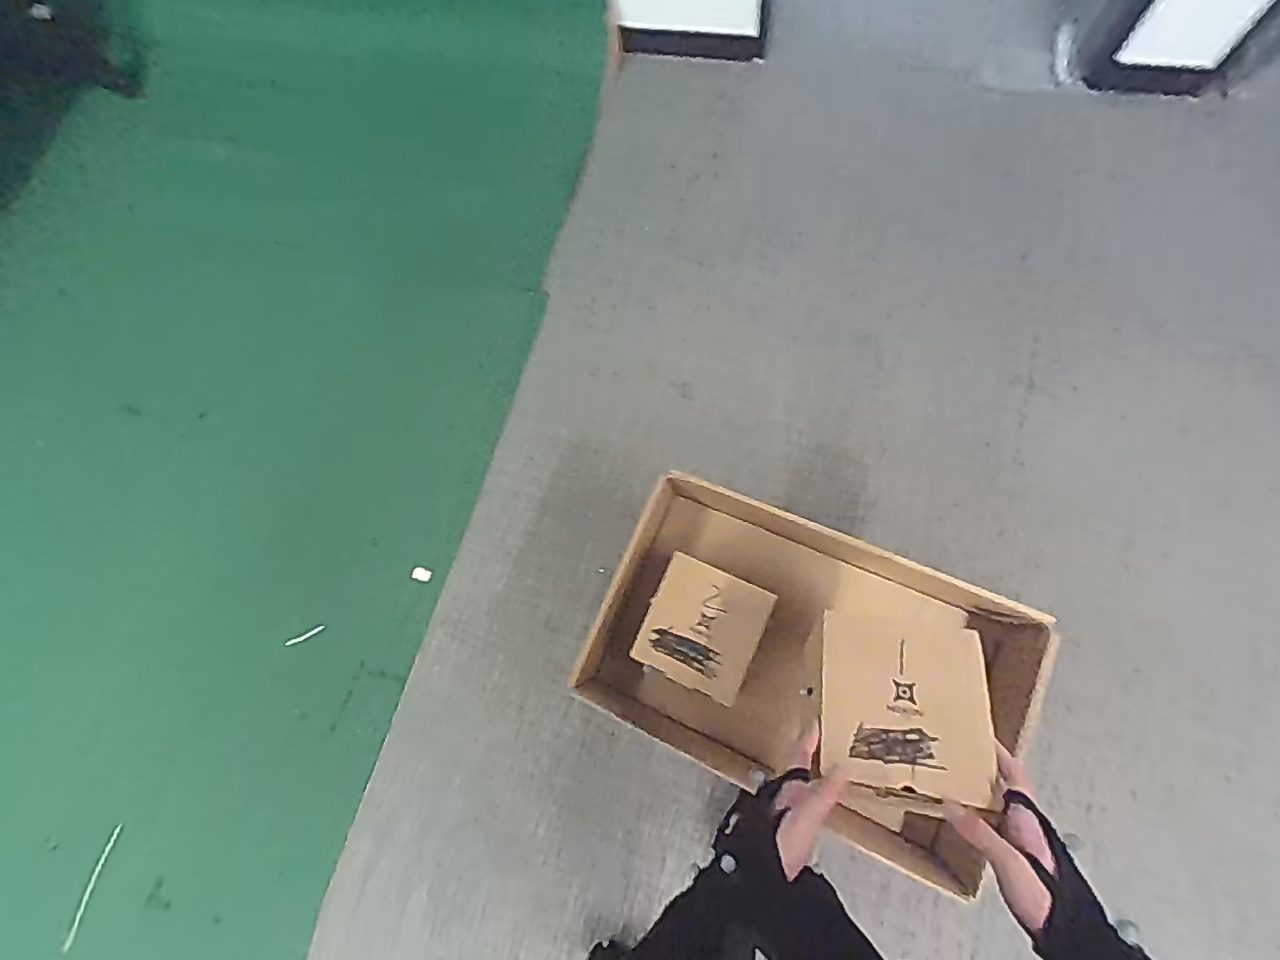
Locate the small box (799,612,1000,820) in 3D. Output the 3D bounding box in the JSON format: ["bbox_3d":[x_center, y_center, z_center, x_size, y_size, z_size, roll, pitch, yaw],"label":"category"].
[{"bbox_3d":[0.280,0.274,0.621,0.168,0.176,0.179,6,58,12],"label":"small box"}]
